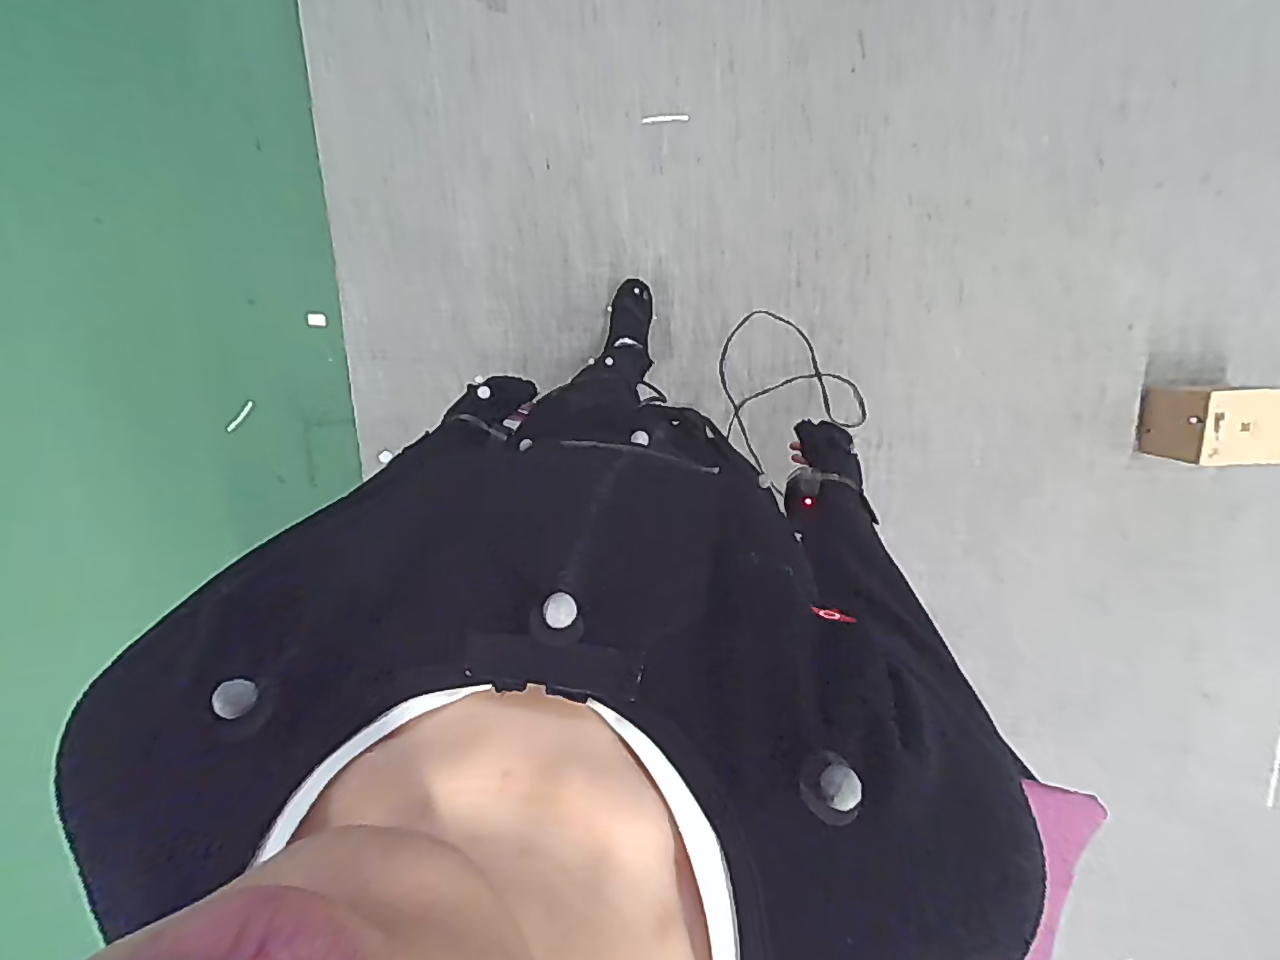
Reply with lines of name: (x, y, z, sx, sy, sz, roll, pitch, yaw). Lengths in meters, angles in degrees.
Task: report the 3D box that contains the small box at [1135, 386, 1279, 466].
small box: (1.311, -0.129, 1.246, 0.179, 0.176, 0.168, -1, 102, 5)
